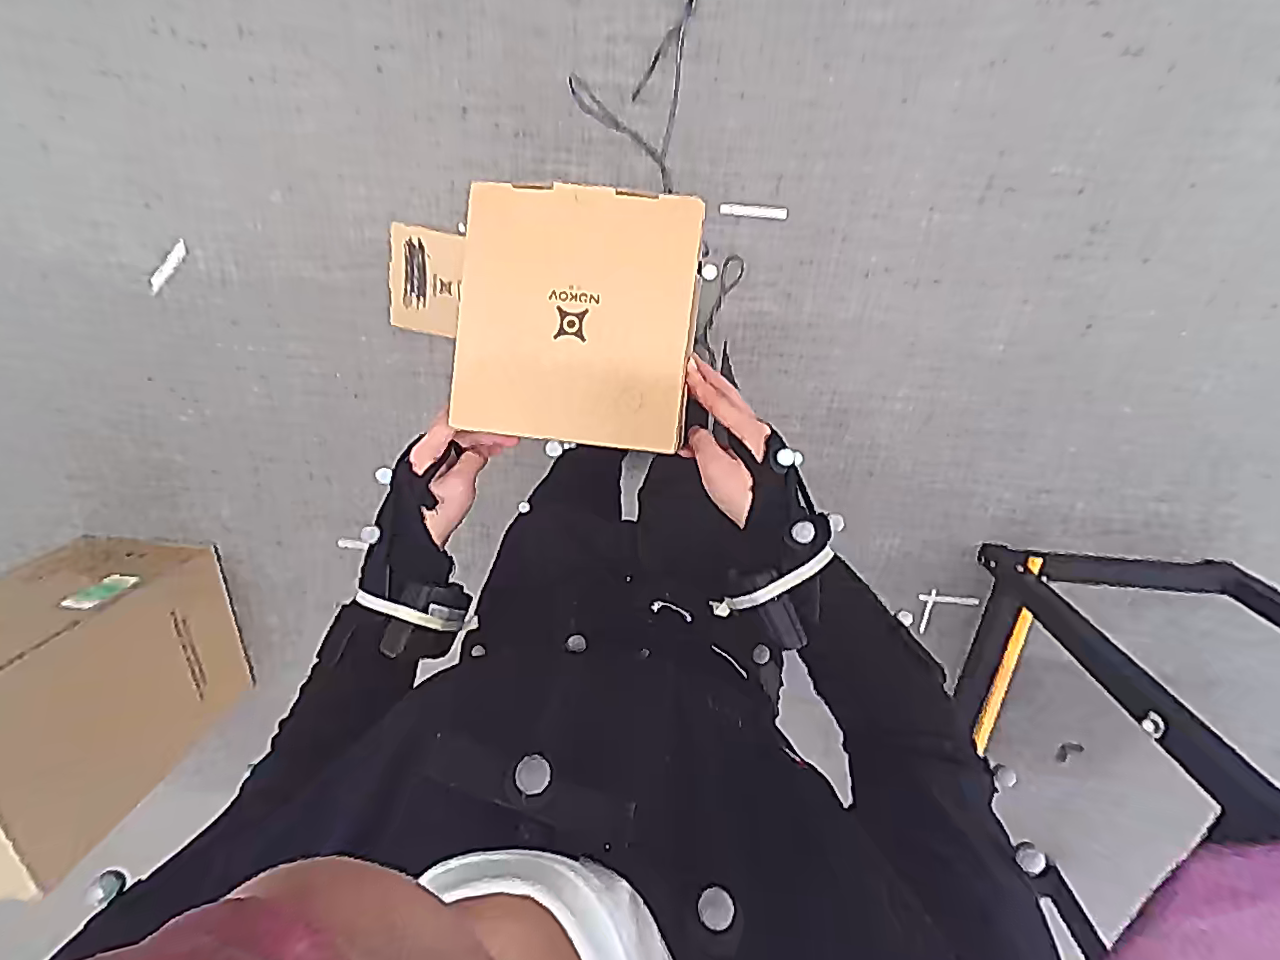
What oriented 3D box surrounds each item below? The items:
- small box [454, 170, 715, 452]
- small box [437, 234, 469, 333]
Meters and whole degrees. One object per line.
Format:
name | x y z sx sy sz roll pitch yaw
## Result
small box | -0.032 -0.118 0.442 0.168 0.176 0.179 7 93 5
small box | -0.301 -0.394 1.114 0.168 0.176 0.179 12 113 1
